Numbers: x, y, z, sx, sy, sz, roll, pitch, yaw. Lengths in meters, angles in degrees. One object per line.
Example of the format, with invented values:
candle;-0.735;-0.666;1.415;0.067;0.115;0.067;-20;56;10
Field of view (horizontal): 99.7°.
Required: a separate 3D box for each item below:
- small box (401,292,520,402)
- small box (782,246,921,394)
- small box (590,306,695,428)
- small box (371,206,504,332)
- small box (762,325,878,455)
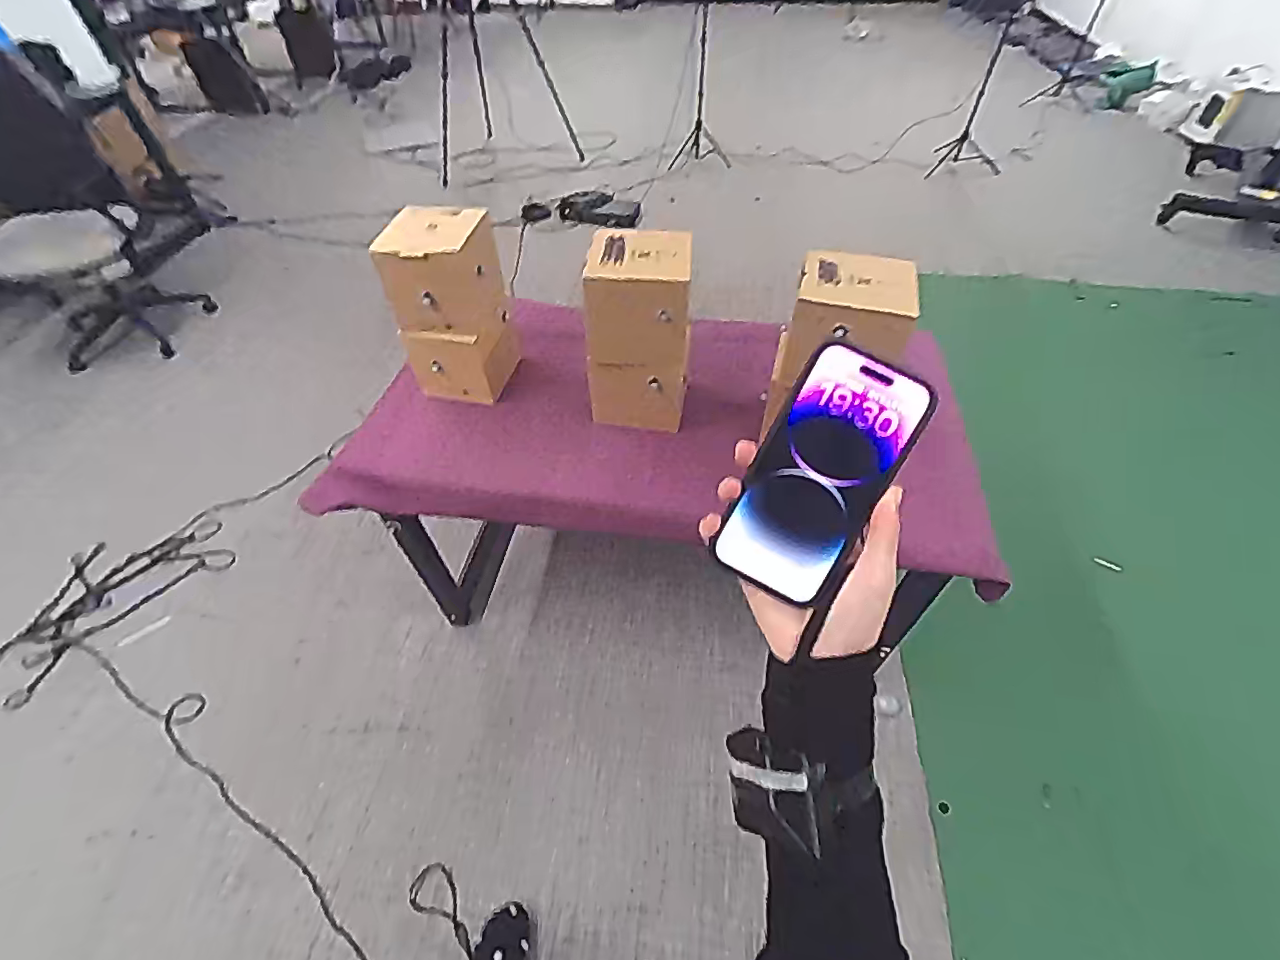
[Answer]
small box;-0.370;-0.289;1.157;0.168;0.176;0.179;8;50;8
small box;0.342;-0.262;0.895;0.179;0.176;0.168;12;51;12
small box;0.010;-0.224;1.086;0.179;0.176;0.168;7;50;8
small box;-0.372;-0.402;1.038;0.168;0.176;0.179;4;50;5
small box;0.341;-0.168;1.030;0.179;0.176;0.168;12;51;13
